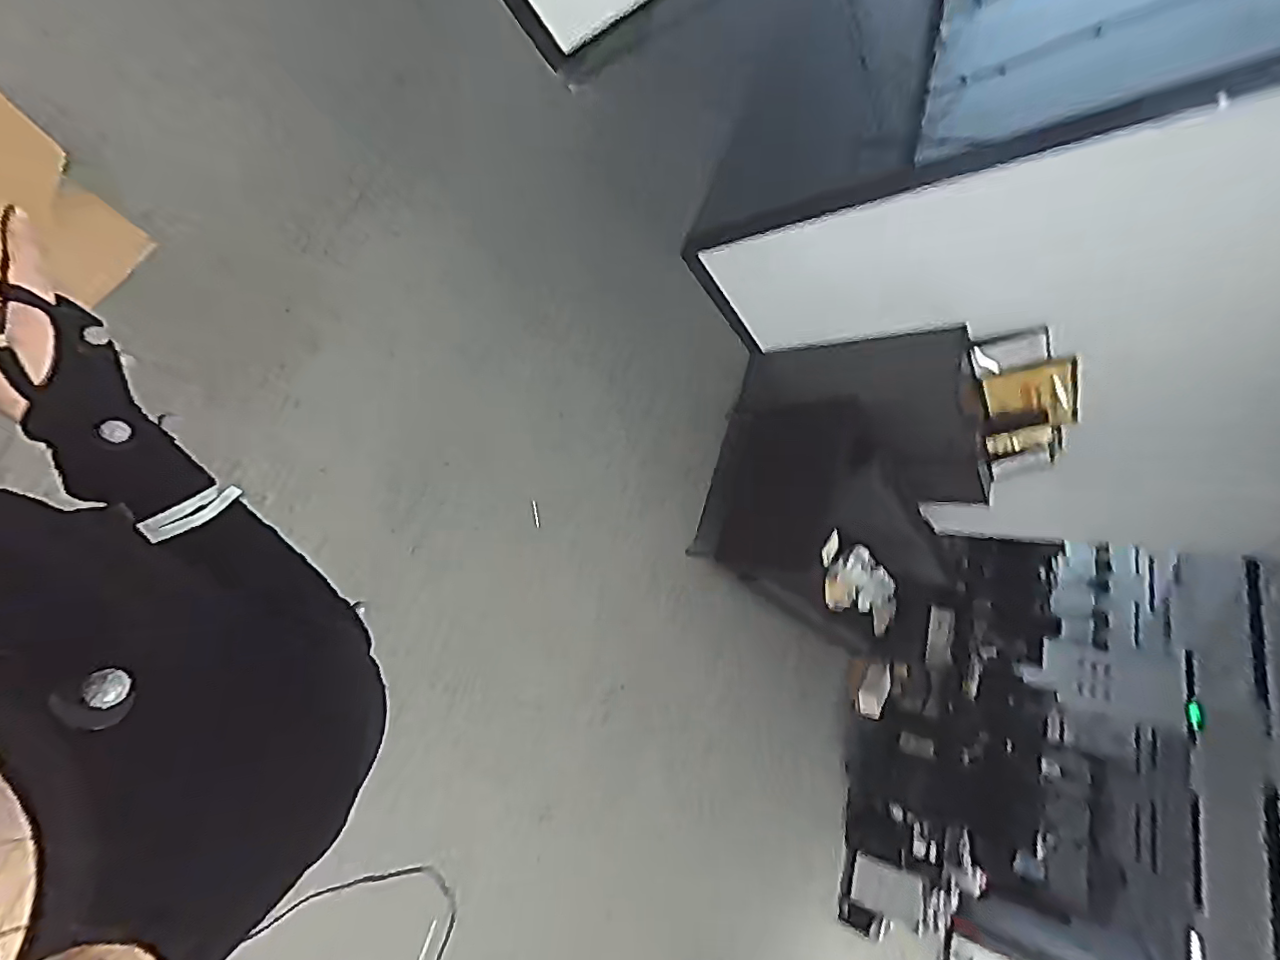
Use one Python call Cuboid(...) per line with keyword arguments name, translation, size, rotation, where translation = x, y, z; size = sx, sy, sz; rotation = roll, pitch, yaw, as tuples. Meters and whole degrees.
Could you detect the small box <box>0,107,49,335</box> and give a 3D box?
Cuboid(name="small box", translation=(-0.508, -0.188, 0.308), size=(0.179, 0.168, 0.176), rotation=(88, -13, -69))
